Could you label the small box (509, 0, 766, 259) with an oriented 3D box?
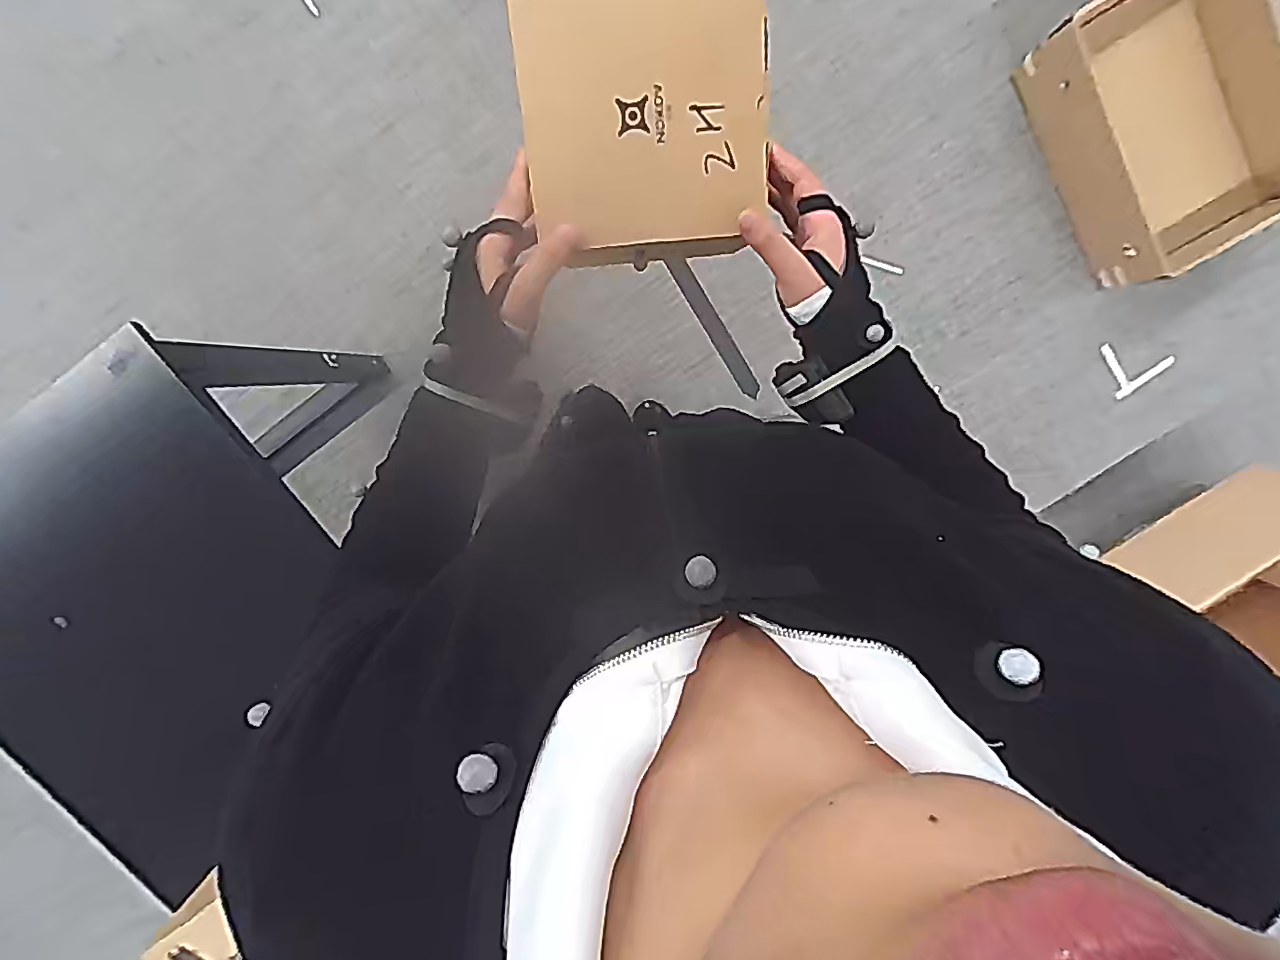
[{"bbox_3d":[0.003,-0.288,0.462,0.179,0.176,0.168,-5,108,1],"label":"small box"}]
